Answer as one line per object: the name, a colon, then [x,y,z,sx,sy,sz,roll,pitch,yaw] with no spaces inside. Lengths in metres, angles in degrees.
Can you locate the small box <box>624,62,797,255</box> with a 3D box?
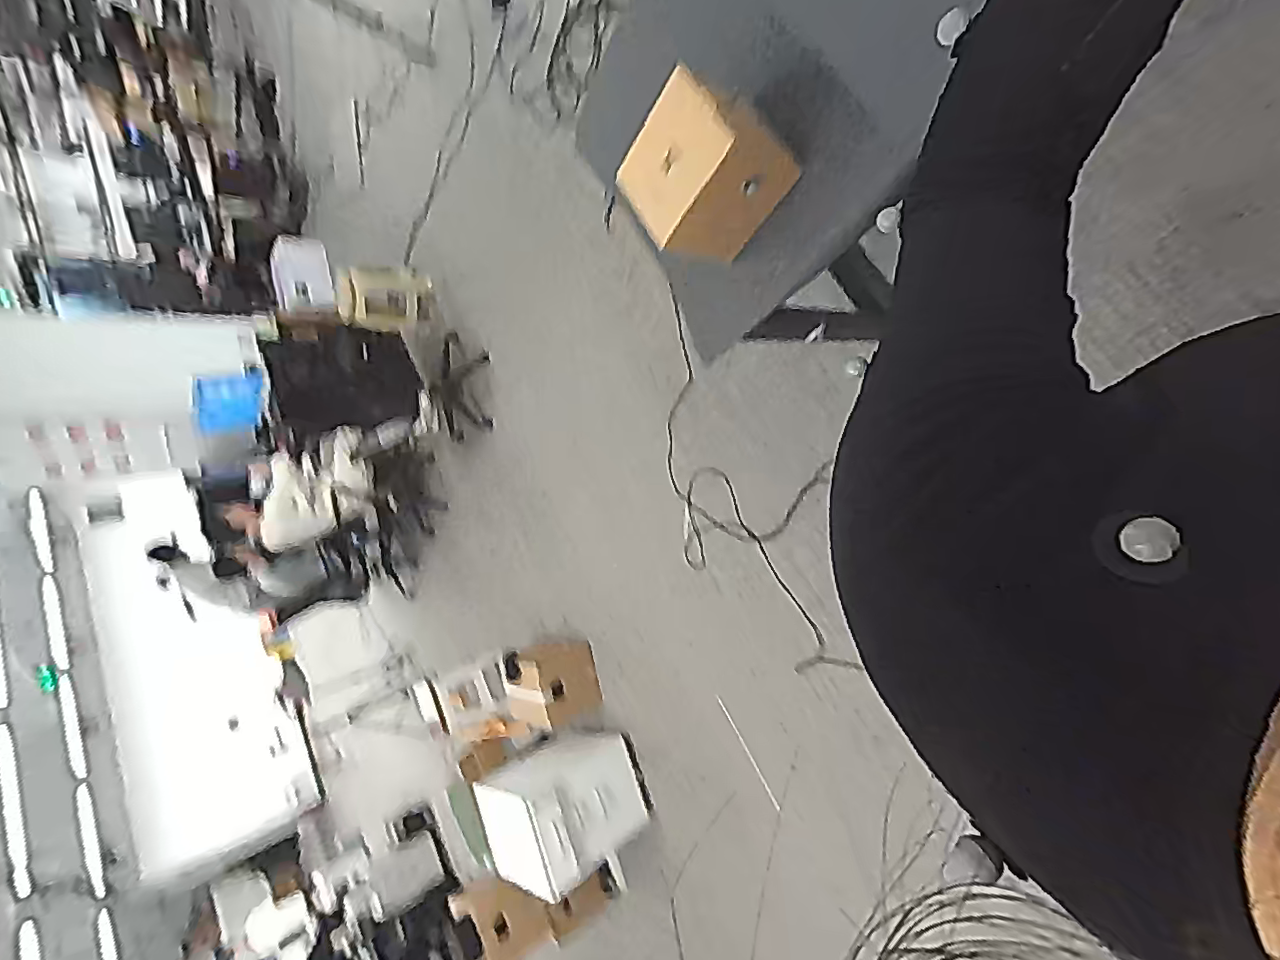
small box: [0.113,-0.474,0.825,0.179,0.176,0.168,-46,64,44]
